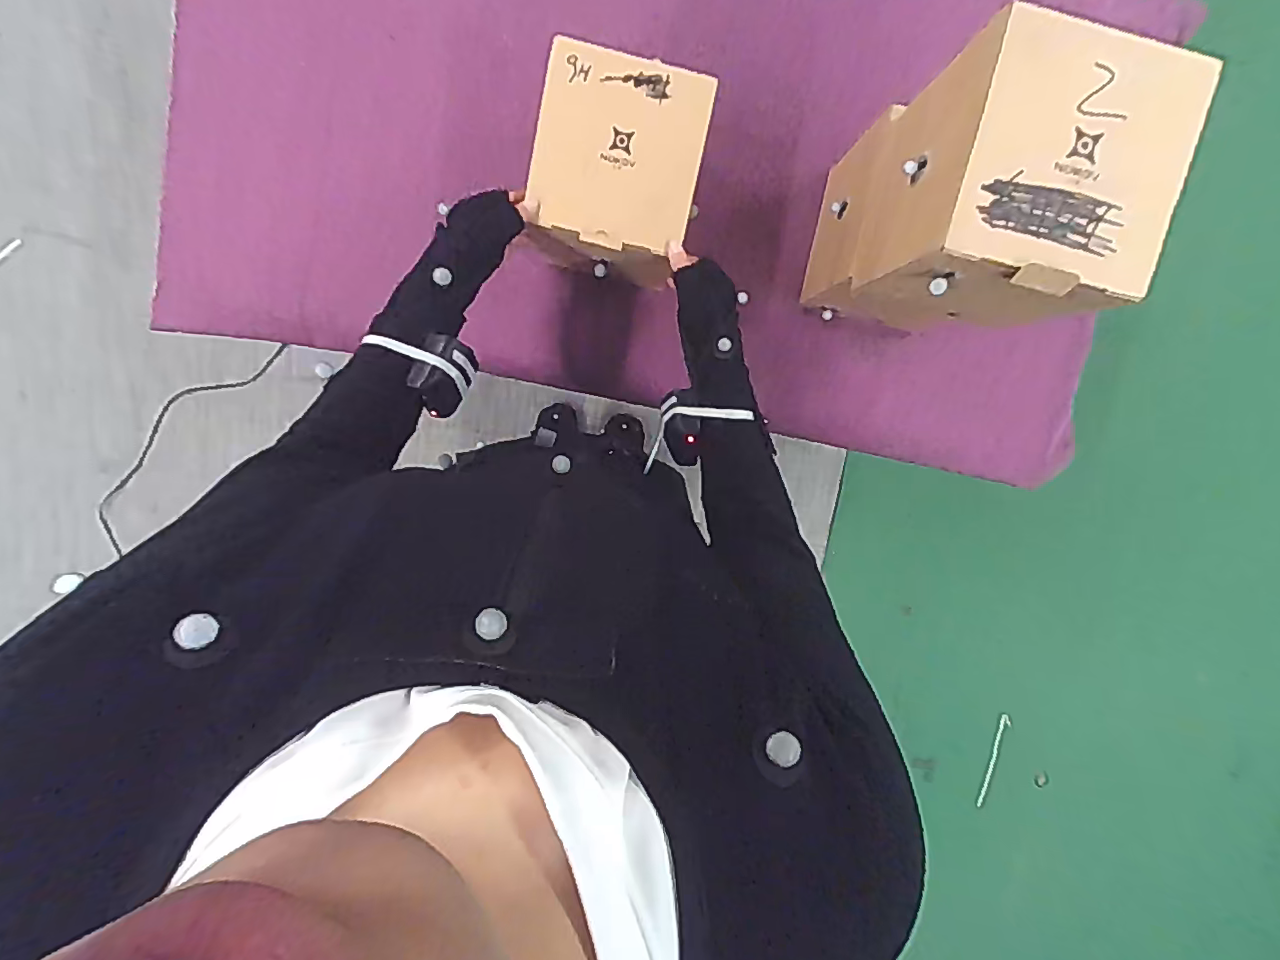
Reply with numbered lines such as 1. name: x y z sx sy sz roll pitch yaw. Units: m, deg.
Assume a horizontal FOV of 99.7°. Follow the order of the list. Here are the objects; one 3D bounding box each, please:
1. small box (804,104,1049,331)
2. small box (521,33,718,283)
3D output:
1. small box: 0.312 -0.283 0.632 0.168 0.176 0.179 14 99 -7
2. small box: -0.024 -0.338 0.610 0.168 0.176 0.179 13 99 -5
